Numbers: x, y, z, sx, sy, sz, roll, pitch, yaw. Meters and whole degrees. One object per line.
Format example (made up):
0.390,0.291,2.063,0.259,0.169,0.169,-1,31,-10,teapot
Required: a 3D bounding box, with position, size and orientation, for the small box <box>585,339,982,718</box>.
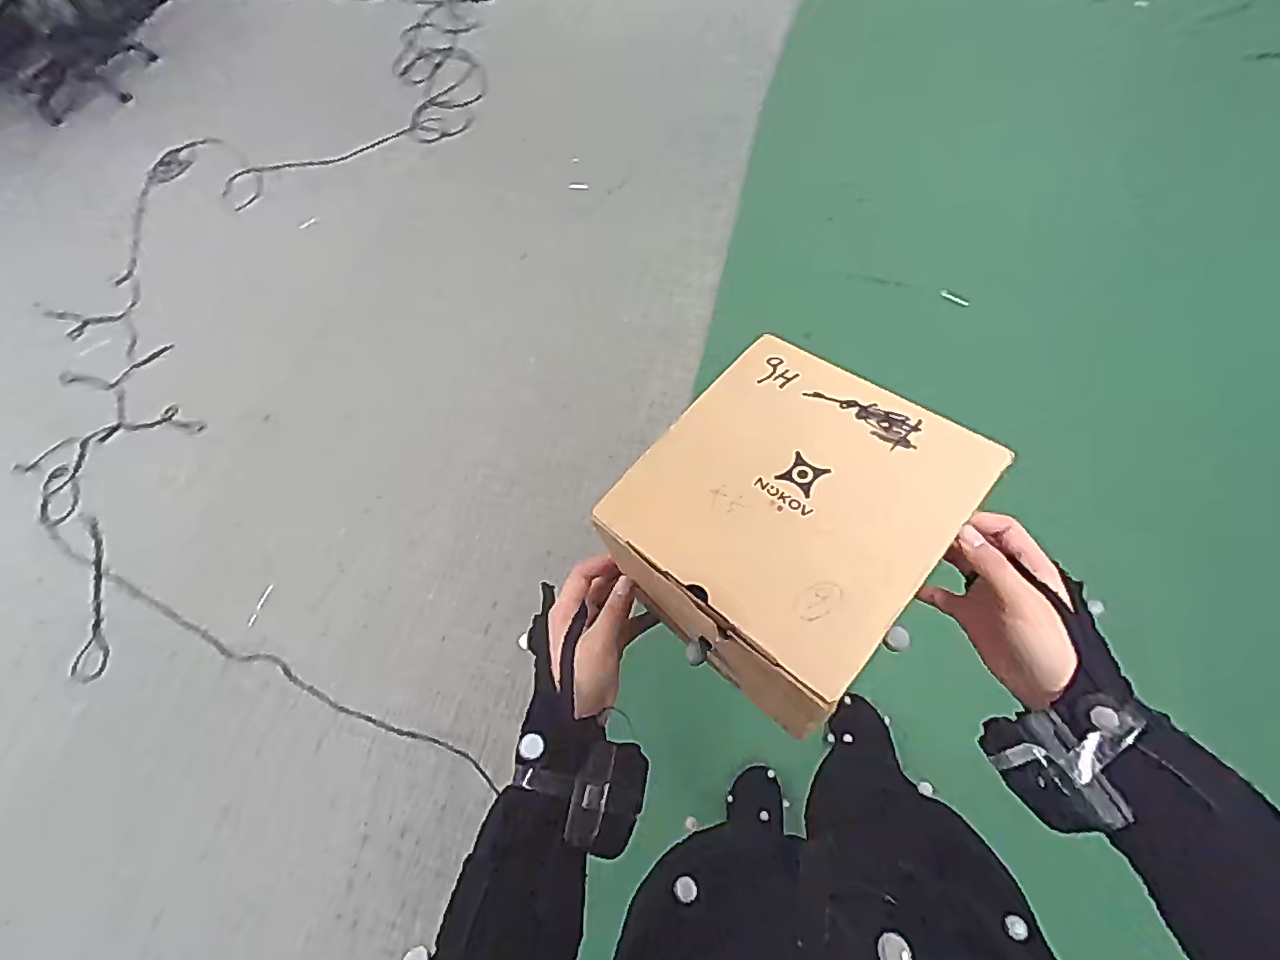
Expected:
0.095,0.042,0.385,0.168,0.176,0.179,35,73,27,small box
